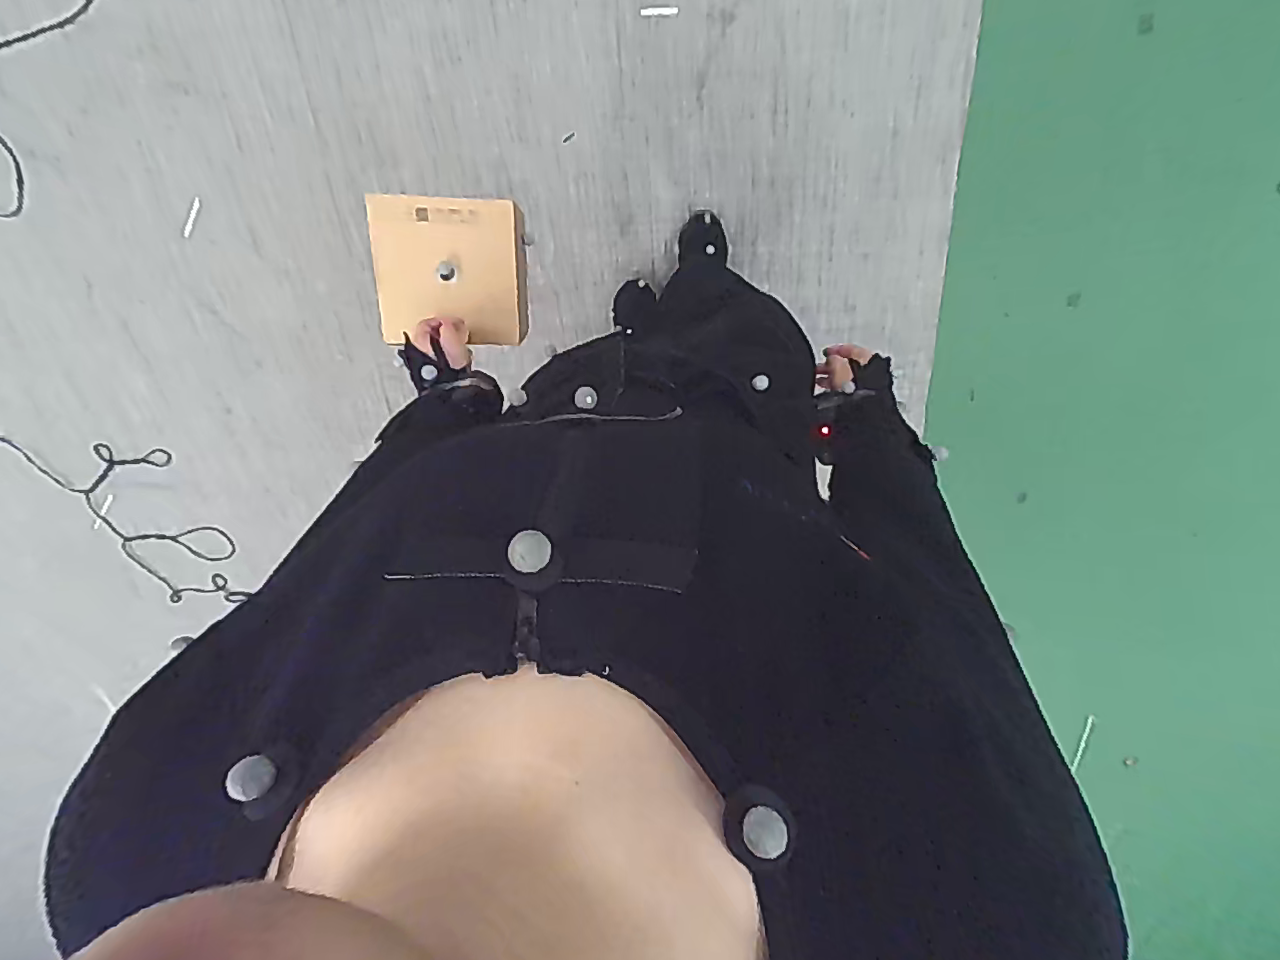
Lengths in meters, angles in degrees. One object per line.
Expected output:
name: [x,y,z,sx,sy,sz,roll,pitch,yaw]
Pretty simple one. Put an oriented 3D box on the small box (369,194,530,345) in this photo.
small box: [-0.241,-0.279,0.723,0.168,0.179,0.176,-3,111,-7]
